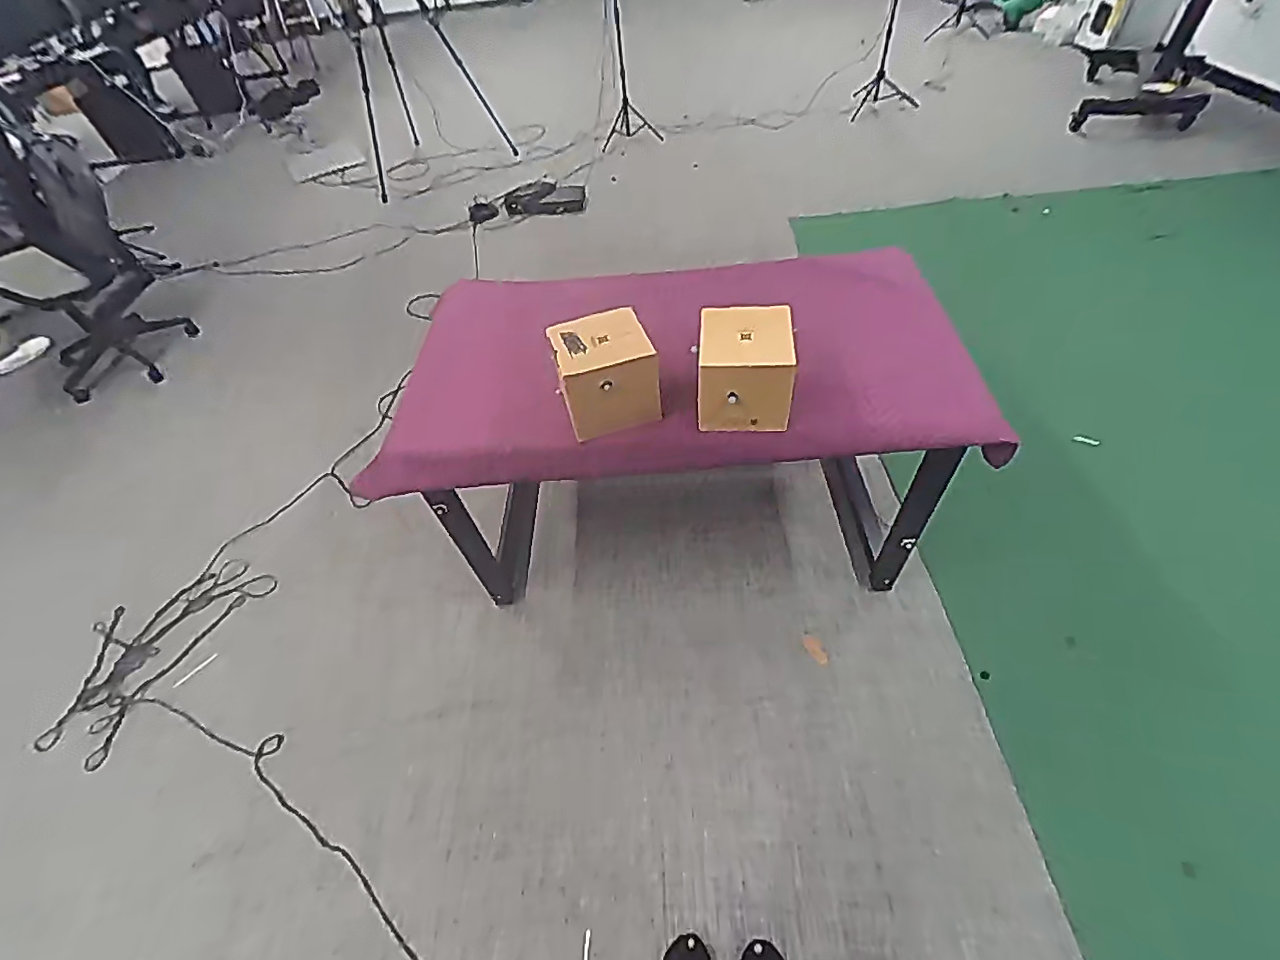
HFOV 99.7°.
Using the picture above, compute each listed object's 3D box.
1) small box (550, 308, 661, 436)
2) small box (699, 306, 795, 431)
[{"bbox_3d":[-0.065,-0.209,1.067,0.179,0.176,0.168,-15,49,-7],"label":"small box"},{"bbox_3d":[0.202,-0.209,1.037,0.168,0.176,0.179,1,50,8],"label":"small box"}]
